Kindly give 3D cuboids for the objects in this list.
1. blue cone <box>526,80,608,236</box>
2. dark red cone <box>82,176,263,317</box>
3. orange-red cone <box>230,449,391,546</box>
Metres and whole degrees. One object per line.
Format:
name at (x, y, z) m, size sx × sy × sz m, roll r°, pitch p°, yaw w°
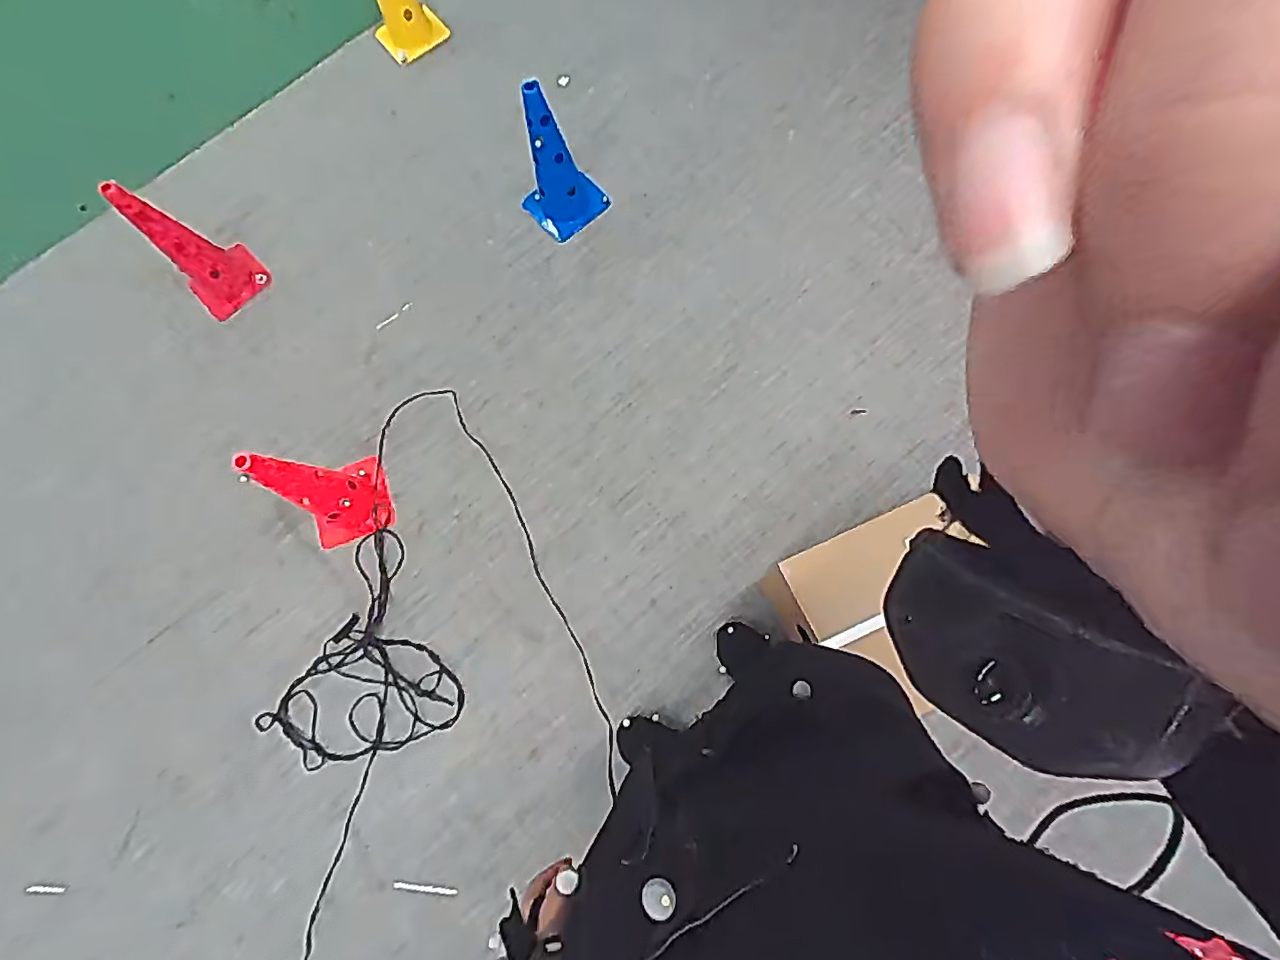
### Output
blue cone at (-0.231, -0.851, 1.417) m, size 0.192 × 0.380 × 0.193 m, roll -39°, pitch 74°, yaw -6°
dark red cone at (-1.247, -0.636, 1.438) m, size 0.201 × 0.394 × 0.202 m, roll 41°, pitch 82°, yaw 18°
orange-red cone at (-0.761, 0.008, 1.219) m, size 0.199 × 0.360 × 0.198 m, roll -21°, pitch 72°, yaw 2°
